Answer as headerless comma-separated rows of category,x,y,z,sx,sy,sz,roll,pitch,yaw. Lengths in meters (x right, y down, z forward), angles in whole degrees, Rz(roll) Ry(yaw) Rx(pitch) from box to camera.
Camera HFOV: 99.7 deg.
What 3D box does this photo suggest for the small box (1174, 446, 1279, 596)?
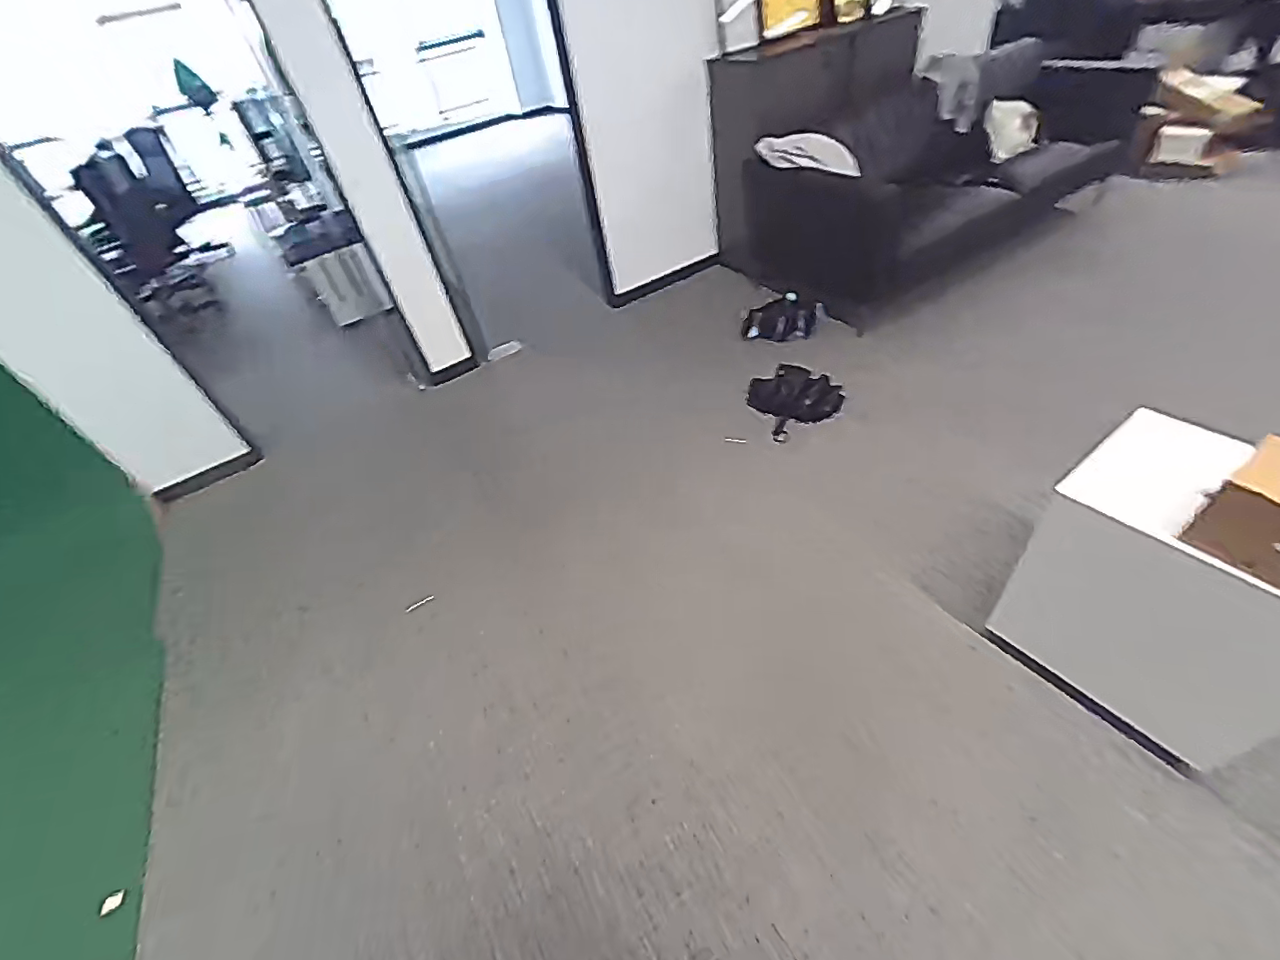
small box,1.129,0.076,0.973,0.179,0.176,0.168,-28,46,-20
